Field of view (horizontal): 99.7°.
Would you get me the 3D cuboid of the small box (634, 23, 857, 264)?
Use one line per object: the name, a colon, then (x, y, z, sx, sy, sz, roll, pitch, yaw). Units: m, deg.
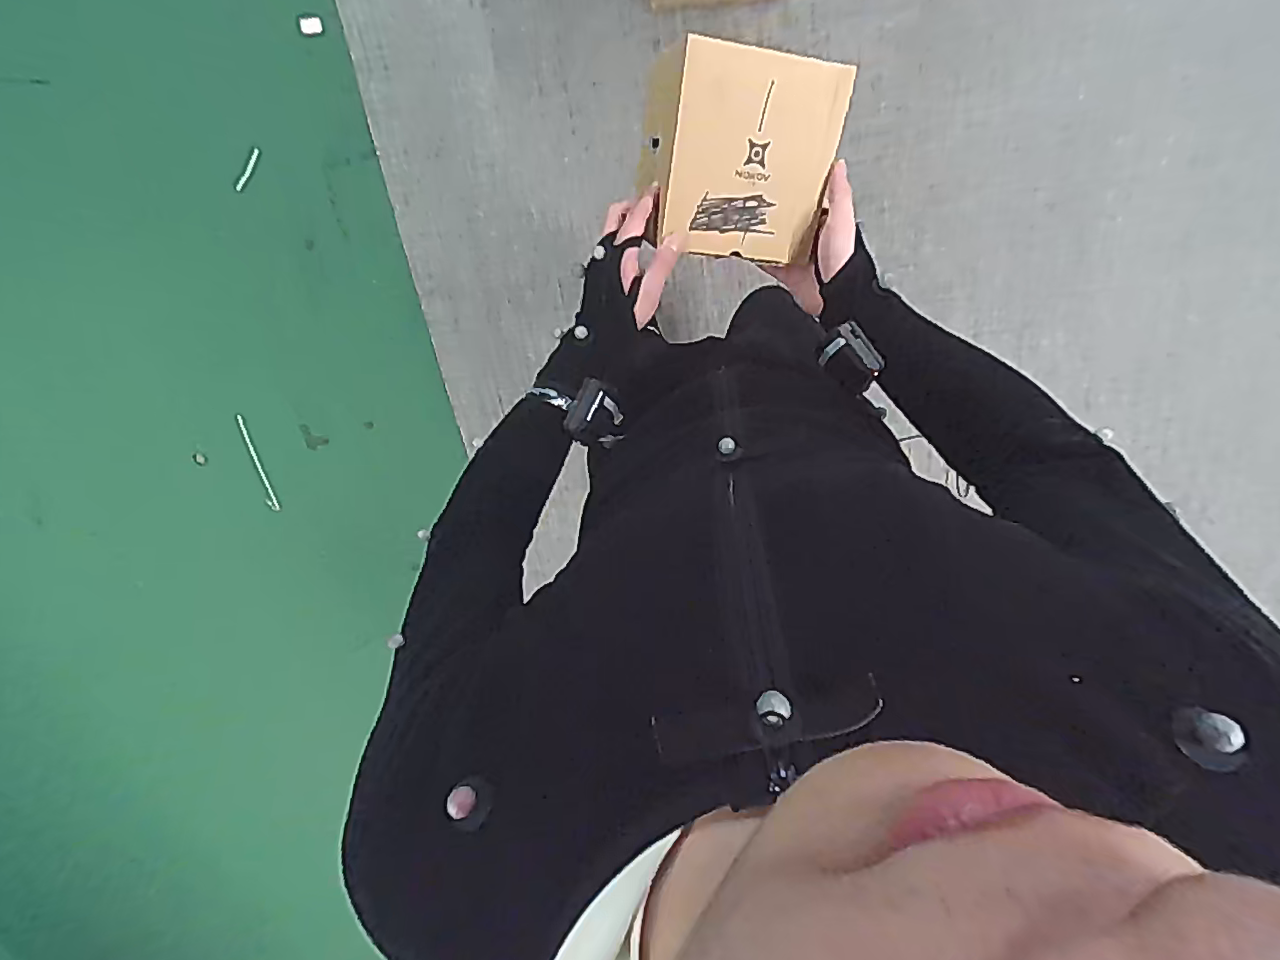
small box: (0.092, -0.346, 0.576, 0.168, 0.176, 0.179, 1, 121, -13)

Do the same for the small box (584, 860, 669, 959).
small box: (-0.027, 0.982, 1.202, 0.179, 0.176, 0.168, 0, 112, 0)
